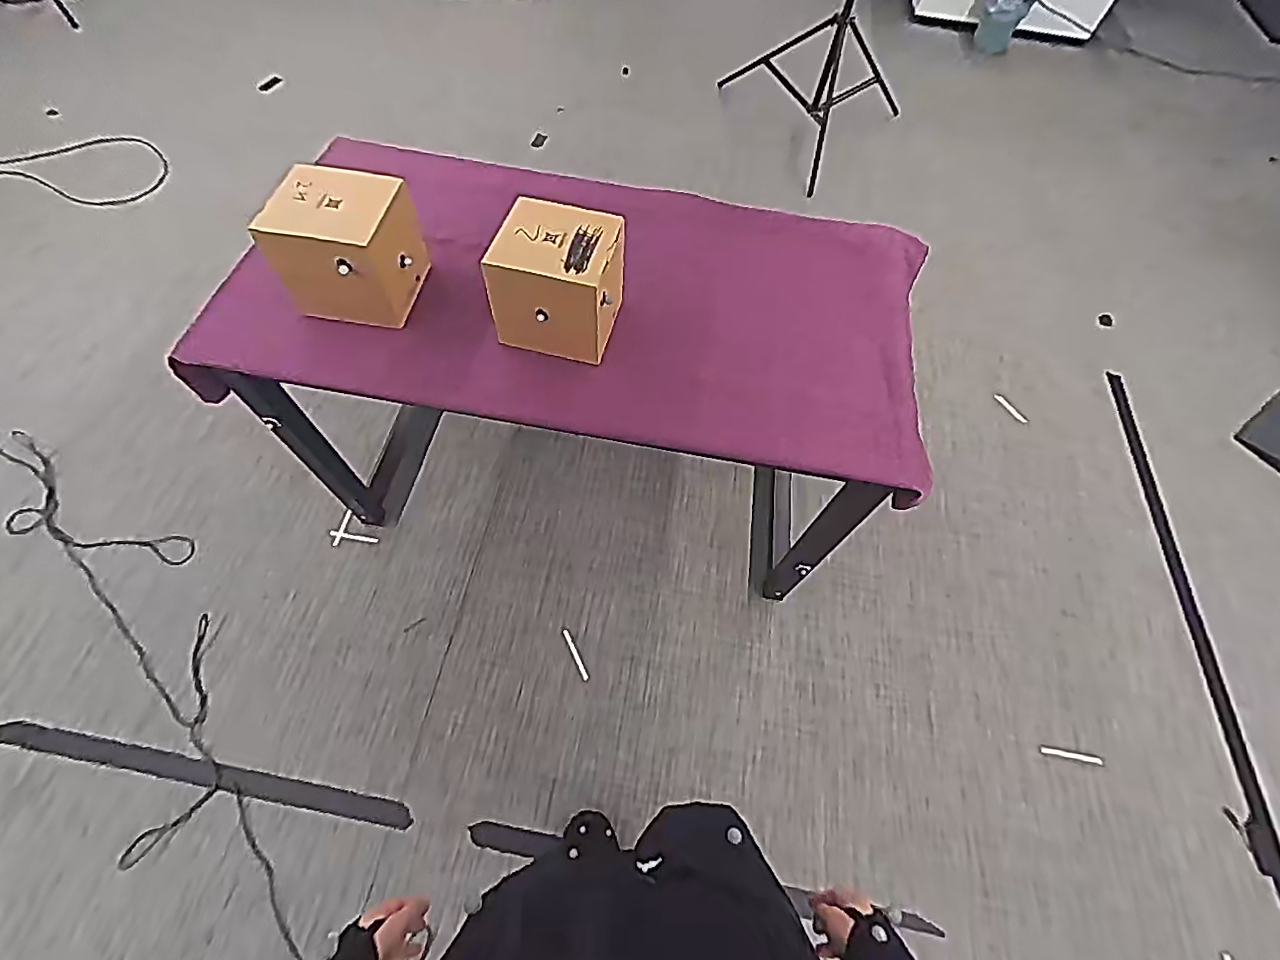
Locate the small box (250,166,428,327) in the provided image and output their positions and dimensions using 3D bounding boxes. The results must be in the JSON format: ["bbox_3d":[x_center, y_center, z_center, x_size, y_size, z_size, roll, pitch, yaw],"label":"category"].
[{"bbox_3d":[-0.471,-0.373,0.883,0.179,0.176,0.168,8,60,0],"label":"small box"}]
